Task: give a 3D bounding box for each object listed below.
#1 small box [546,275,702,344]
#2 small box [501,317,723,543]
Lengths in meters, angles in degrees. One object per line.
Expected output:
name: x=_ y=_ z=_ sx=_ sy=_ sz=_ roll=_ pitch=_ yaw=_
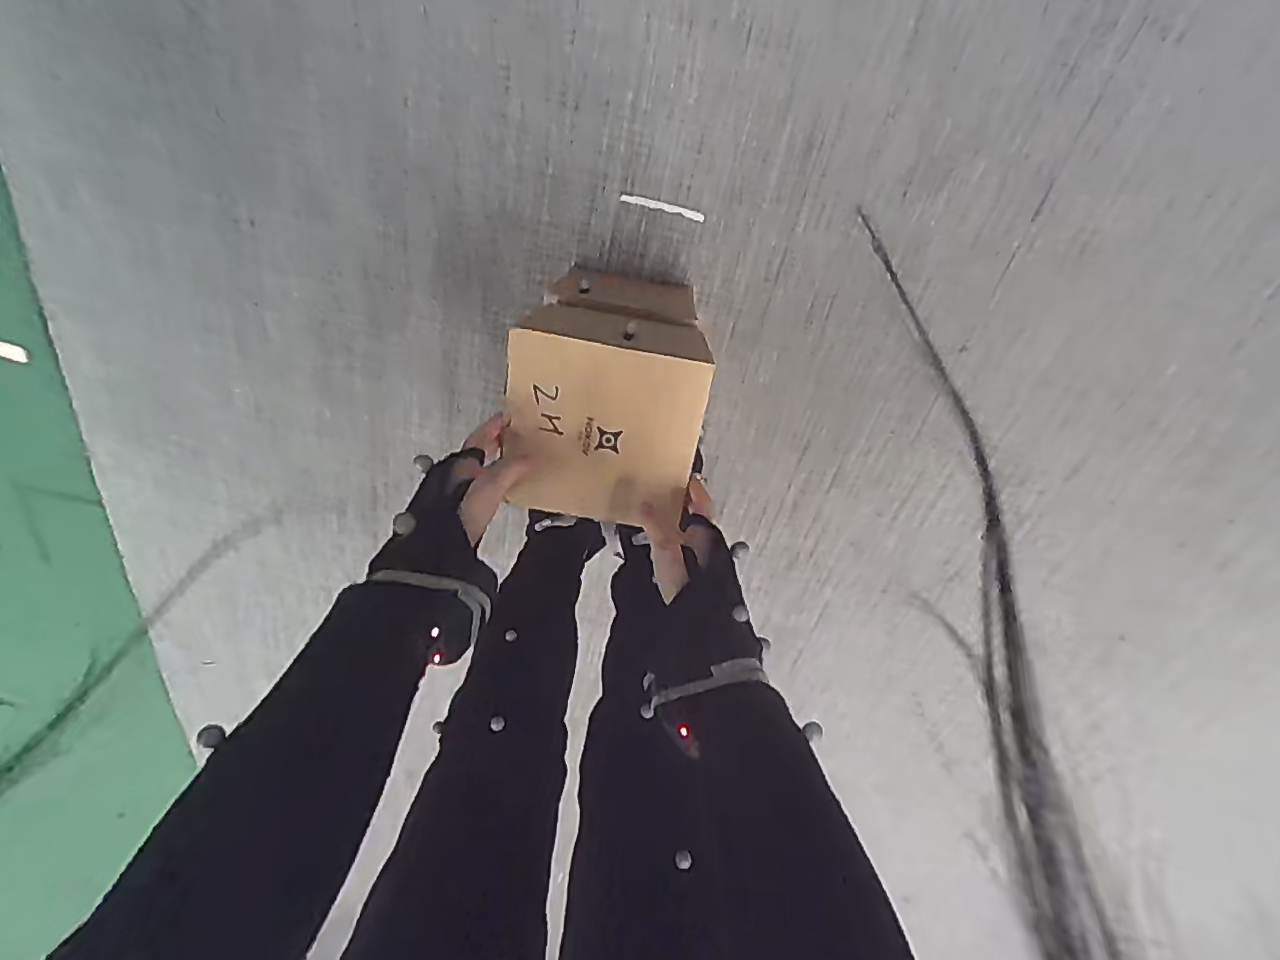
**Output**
small box: x=-0.022 y=-0.156 z=0.702 sx=0.179 sy=0.176 sz=0.168 roll=10 pitch=121 yaw=0
small box: x=-0.028 y=-0.060 z=0.542 sx=0.179 sy=0.176 sz=0.168 roll=9 pitch=114 yaw=-2
